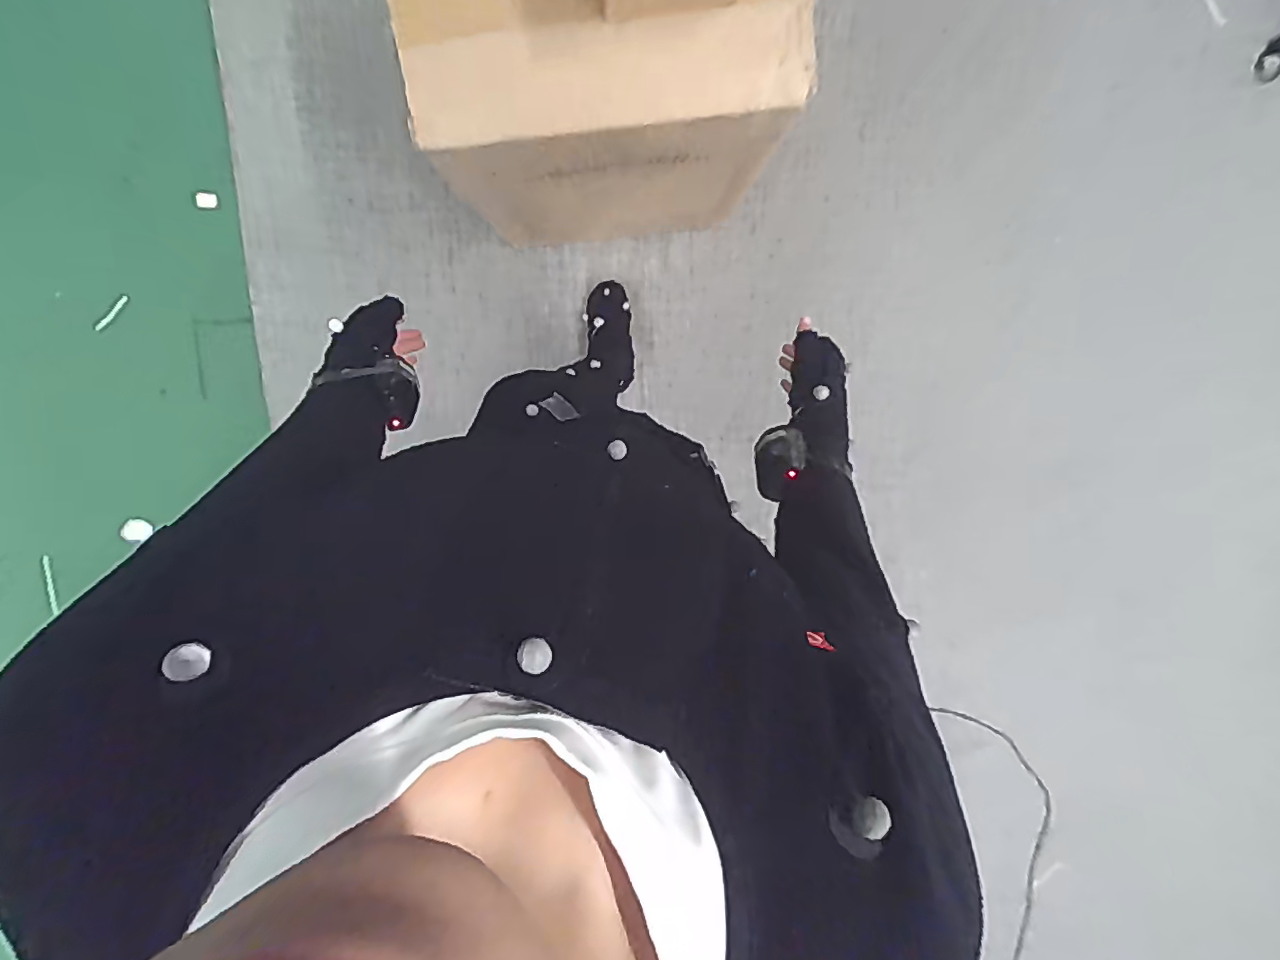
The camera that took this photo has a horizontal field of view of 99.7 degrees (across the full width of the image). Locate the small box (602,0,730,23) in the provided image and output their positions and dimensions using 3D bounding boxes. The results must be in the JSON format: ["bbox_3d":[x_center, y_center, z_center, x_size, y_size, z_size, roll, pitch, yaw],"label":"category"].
[{"bbox_3d":[0.033,-0.636,0.584,0.179,0.176,0.168,-10,112,-1],"label":"small box"}]
